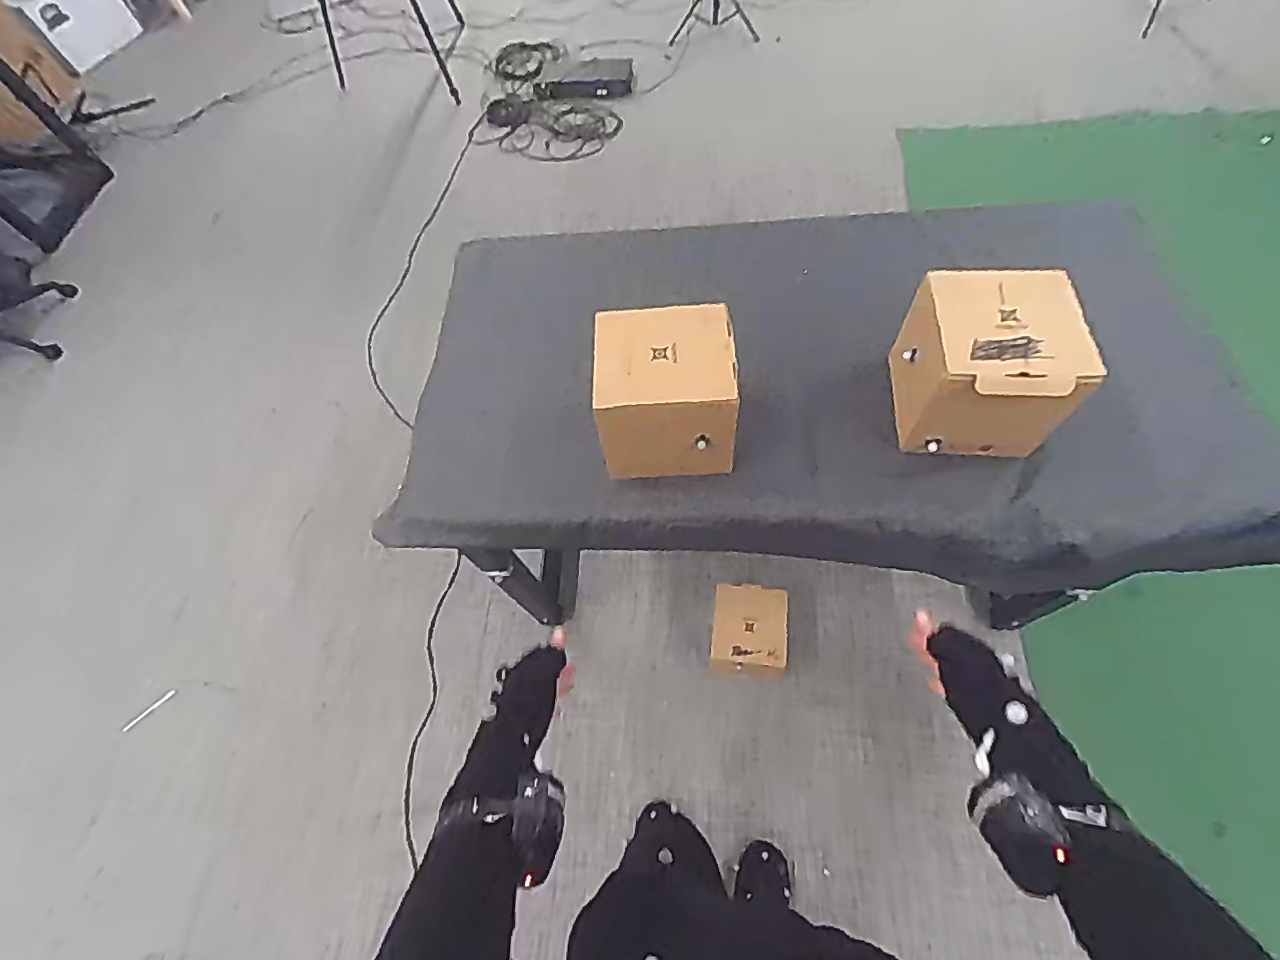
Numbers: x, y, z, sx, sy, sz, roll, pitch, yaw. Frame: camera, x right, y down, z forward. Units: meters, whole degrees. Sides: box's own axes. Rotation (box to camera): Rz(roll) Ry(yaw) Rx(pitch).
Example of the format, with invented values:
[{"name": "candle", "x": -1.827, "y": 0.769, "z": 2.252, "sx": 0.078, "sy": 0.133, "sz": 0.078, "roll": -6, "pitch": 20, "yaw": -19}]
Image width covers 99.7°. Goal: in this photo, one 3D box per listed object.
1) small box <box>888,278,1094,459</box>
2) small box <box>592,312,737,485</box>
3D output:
[{"name": "small box", "x": 0.444, "y": -0.142, "z": 0.719, "sx": 0.168, "sy": 0.176, "sz": 0.179, "roll": 3, "pitch": 61, "yaw": 9}, {"name": "small box", "x": 0.035, "y": -0.106, "z": 0.749, "sx": 0.179, "sy": 0.176, "sz": 0.168, "roll": -5, "pitch": 58, "yaw": 5}]
